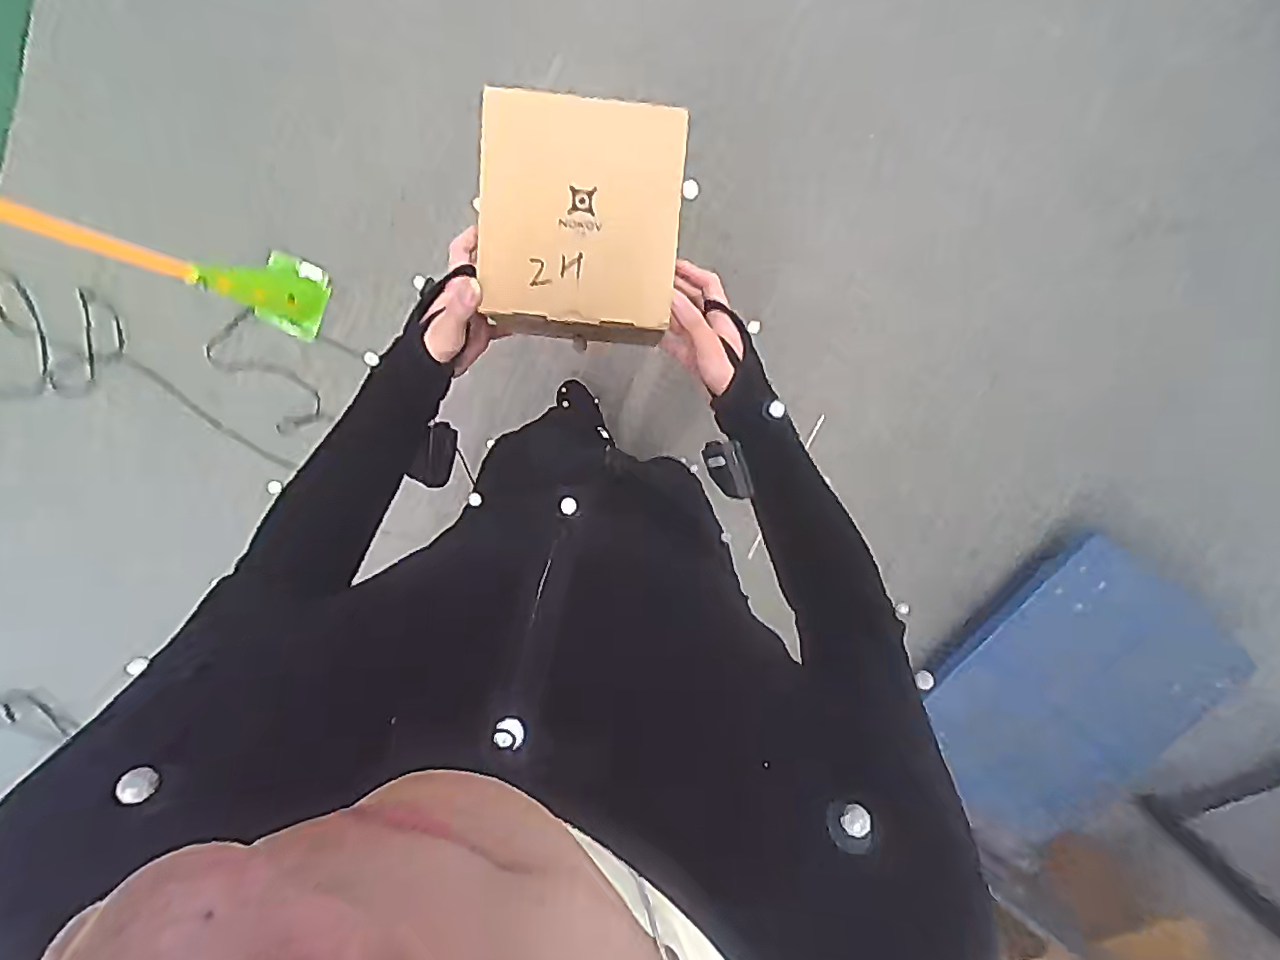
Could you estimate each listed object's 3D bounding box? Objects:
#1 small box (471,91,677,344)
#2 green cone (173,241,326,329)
[{"bbox_3d":[-0.060,-0.236,0.531,0.168,0.176,0.179,4,100,-3],"label":"small box"},{"bbox_3d":[-1.051,-0.538,1.423,0.200,0.368,0.202,26,102,-1],"label":"green cone"}]
